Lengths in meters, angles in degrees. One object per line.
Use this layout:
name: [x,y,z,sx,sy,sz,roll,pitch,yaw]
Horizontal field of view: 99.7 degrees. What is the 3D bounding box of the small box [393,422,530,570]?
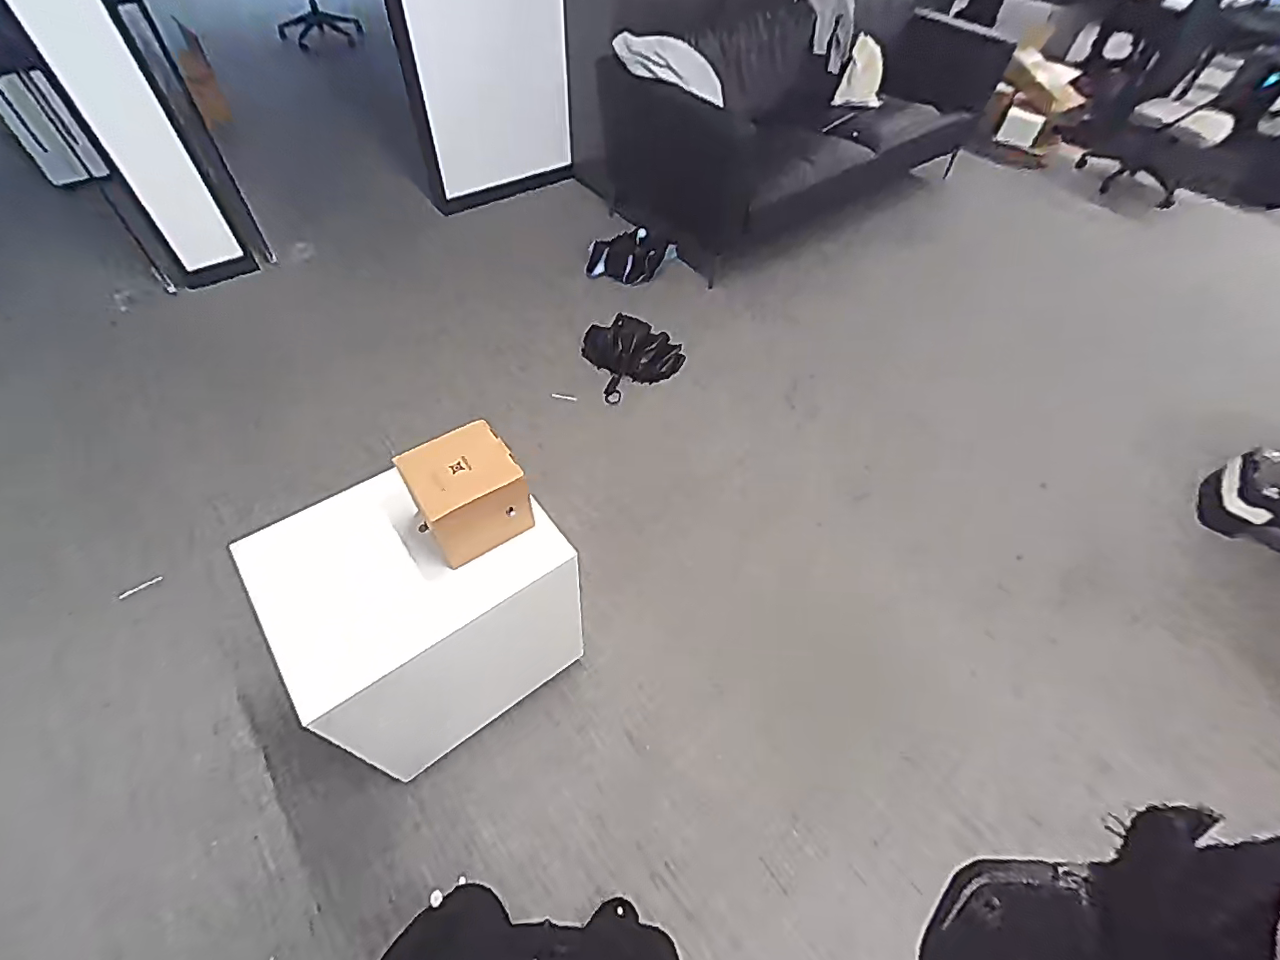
small box: [-0.317,0.032,0.996,0.179,0.176,0.168,-31,59,-22]
